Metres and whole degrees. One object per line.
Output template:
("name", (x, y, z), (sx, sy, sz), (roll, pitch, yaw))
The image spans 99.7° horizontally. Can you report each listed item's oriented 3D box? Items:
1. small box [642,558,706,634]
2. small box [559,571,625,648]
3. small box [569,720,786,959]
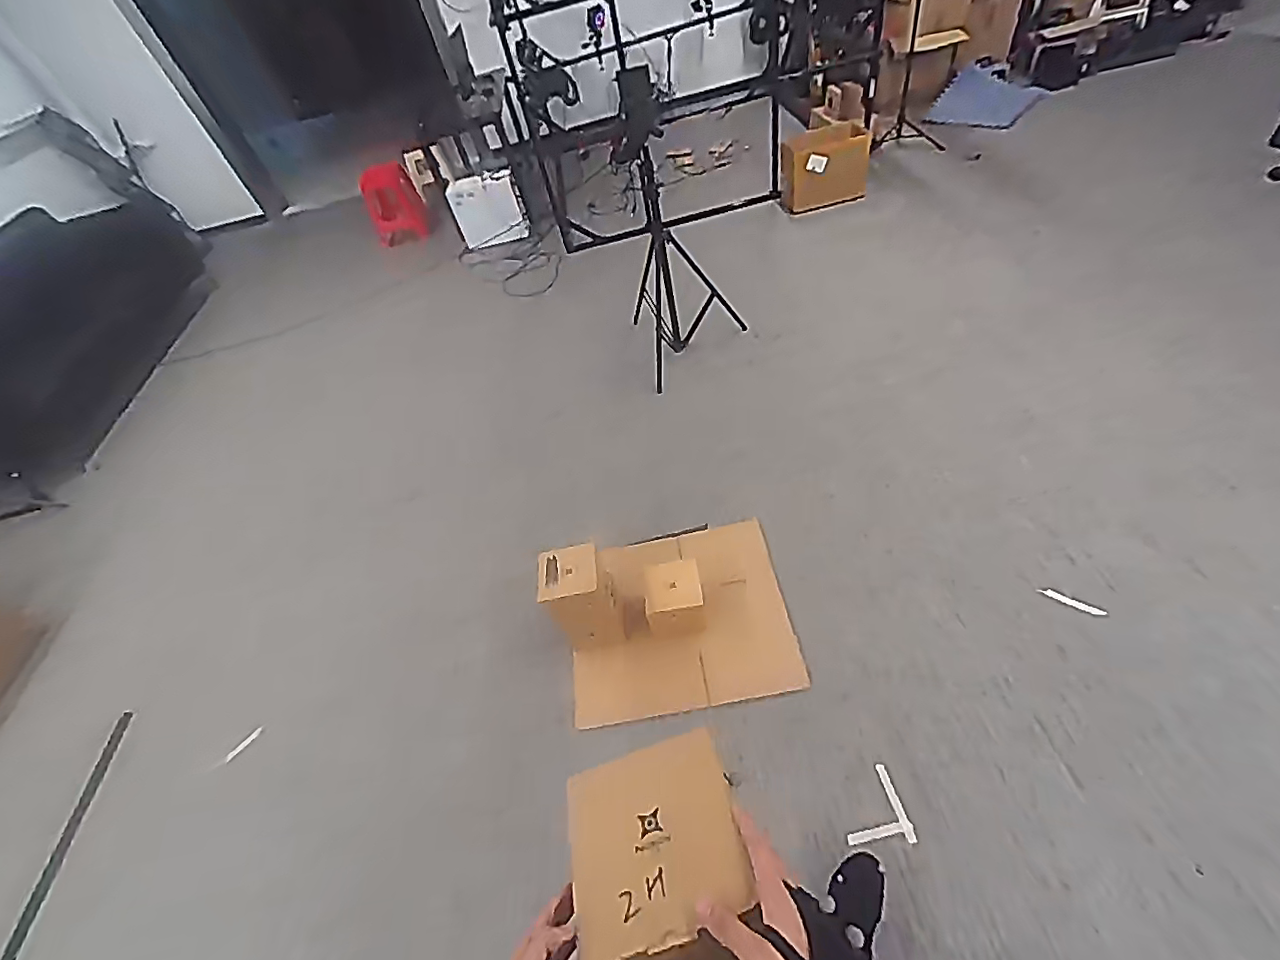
("small box", (0.110, 0.370, 1.710), (0.179, 0.176, 0.168), (-11, 49, 5))
("small box", (-0.150, 0.417, 1.734), (0.179, 0.176, 0.168), (-13, 48, 5))
("small box", (0.035, 0.398, 0.567), (0.168, 0.176, 0.179), (-21, 31, 0))
